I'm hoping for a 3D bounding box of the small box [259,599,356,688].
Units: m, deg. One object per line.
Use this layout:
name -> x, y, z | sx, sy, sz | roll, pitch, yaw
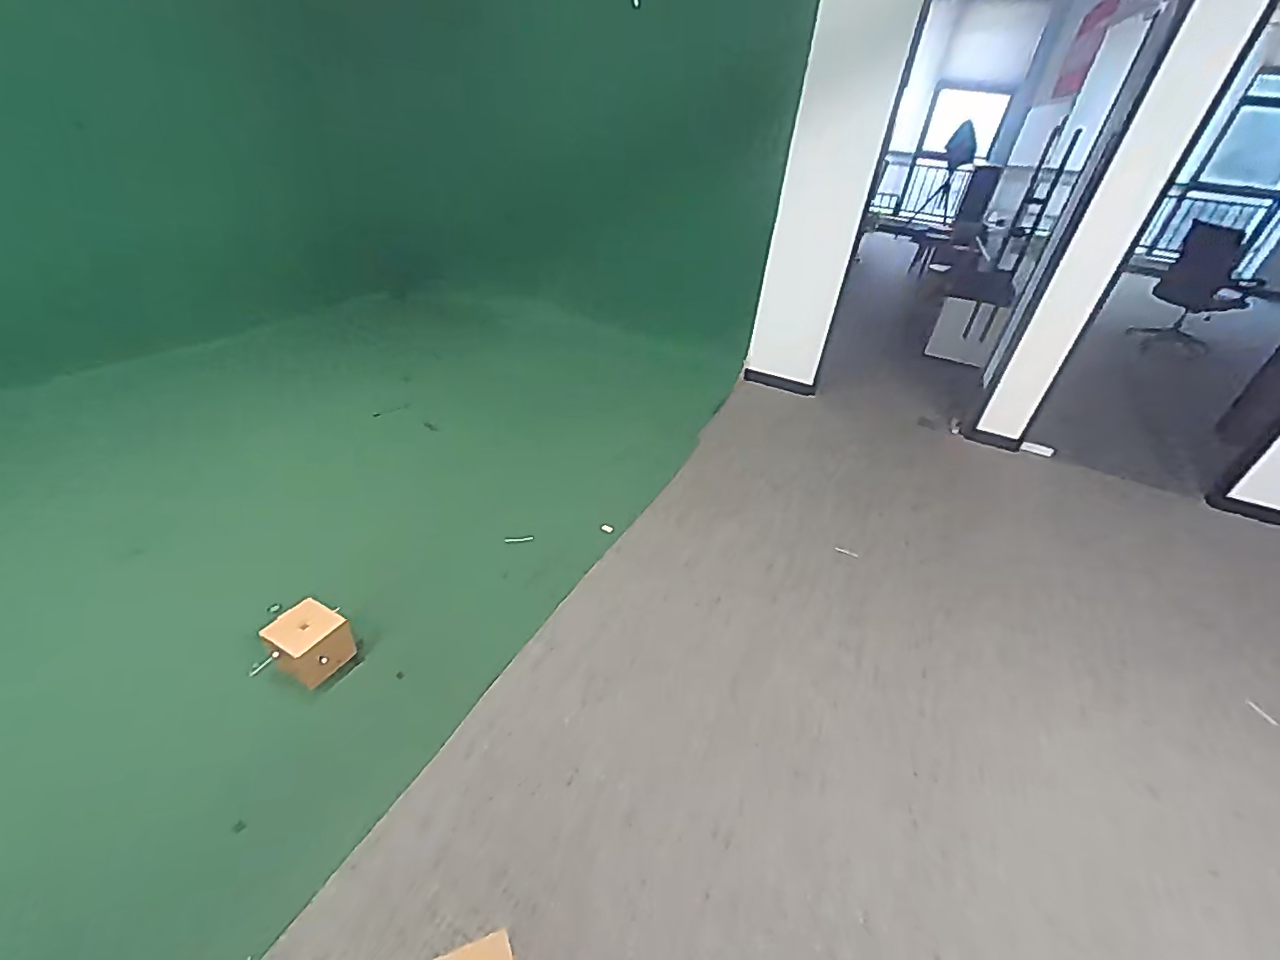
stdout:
small box -> -1.017, 0.509, 1.670 | 0.179, 0.176, 0.168 | 20, 38, 21
